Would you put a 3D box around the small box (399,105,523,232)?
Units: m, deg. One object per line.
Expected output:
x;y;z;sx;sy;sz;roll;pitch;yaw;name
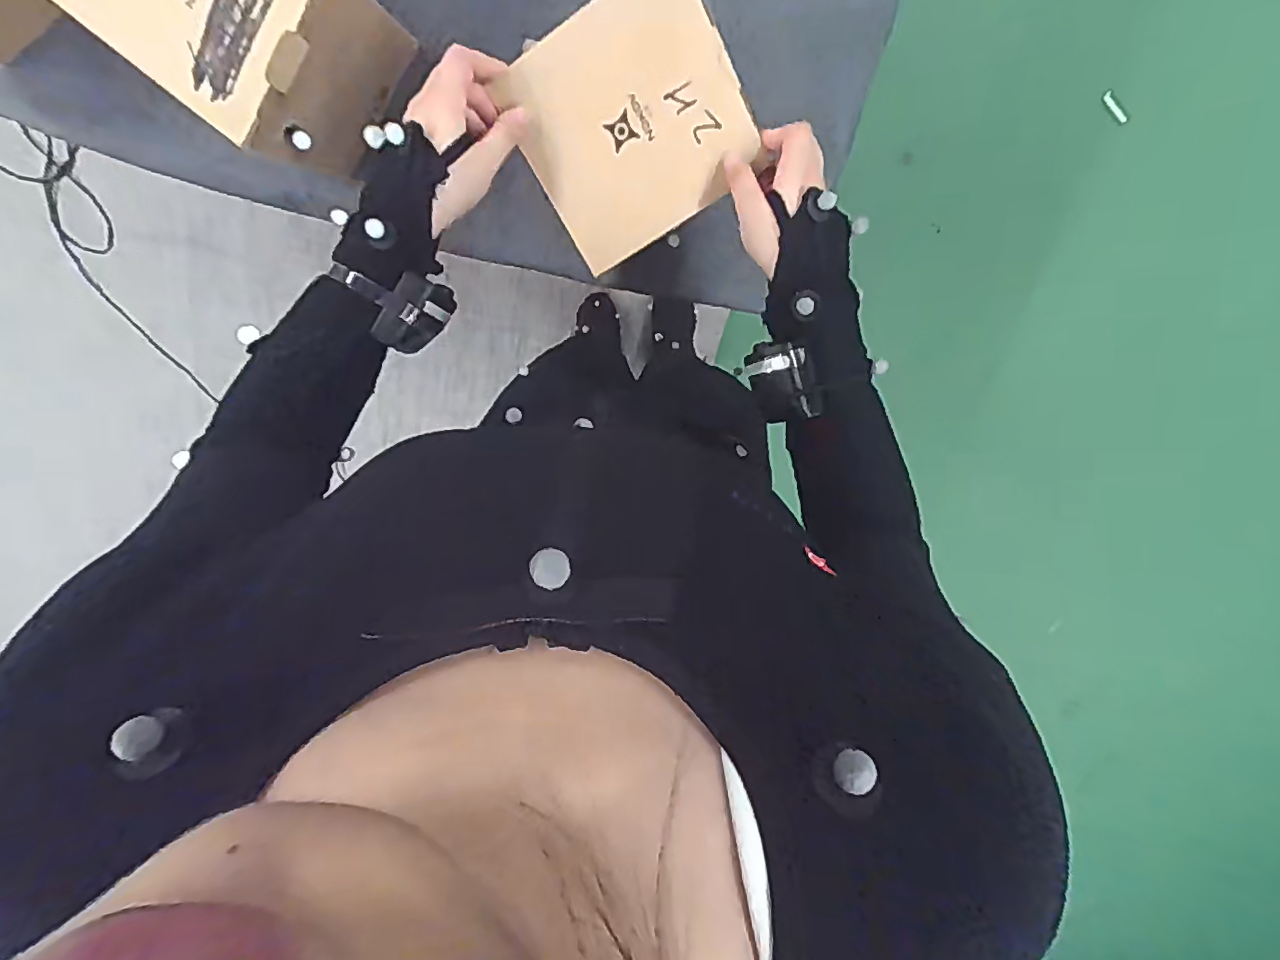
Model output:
-0.379;-0.663;1.177;0.179;0.176;0.168;33;108;-9;small box

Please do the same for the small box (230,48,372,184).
-0.711;-0.756;1.148;0.179;0.176;0.168;25;111;-7;small box

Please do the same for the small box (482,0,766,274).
-0.008;-0.314;0.498;0.179;0.176;0.168;-27;113;14;small box
